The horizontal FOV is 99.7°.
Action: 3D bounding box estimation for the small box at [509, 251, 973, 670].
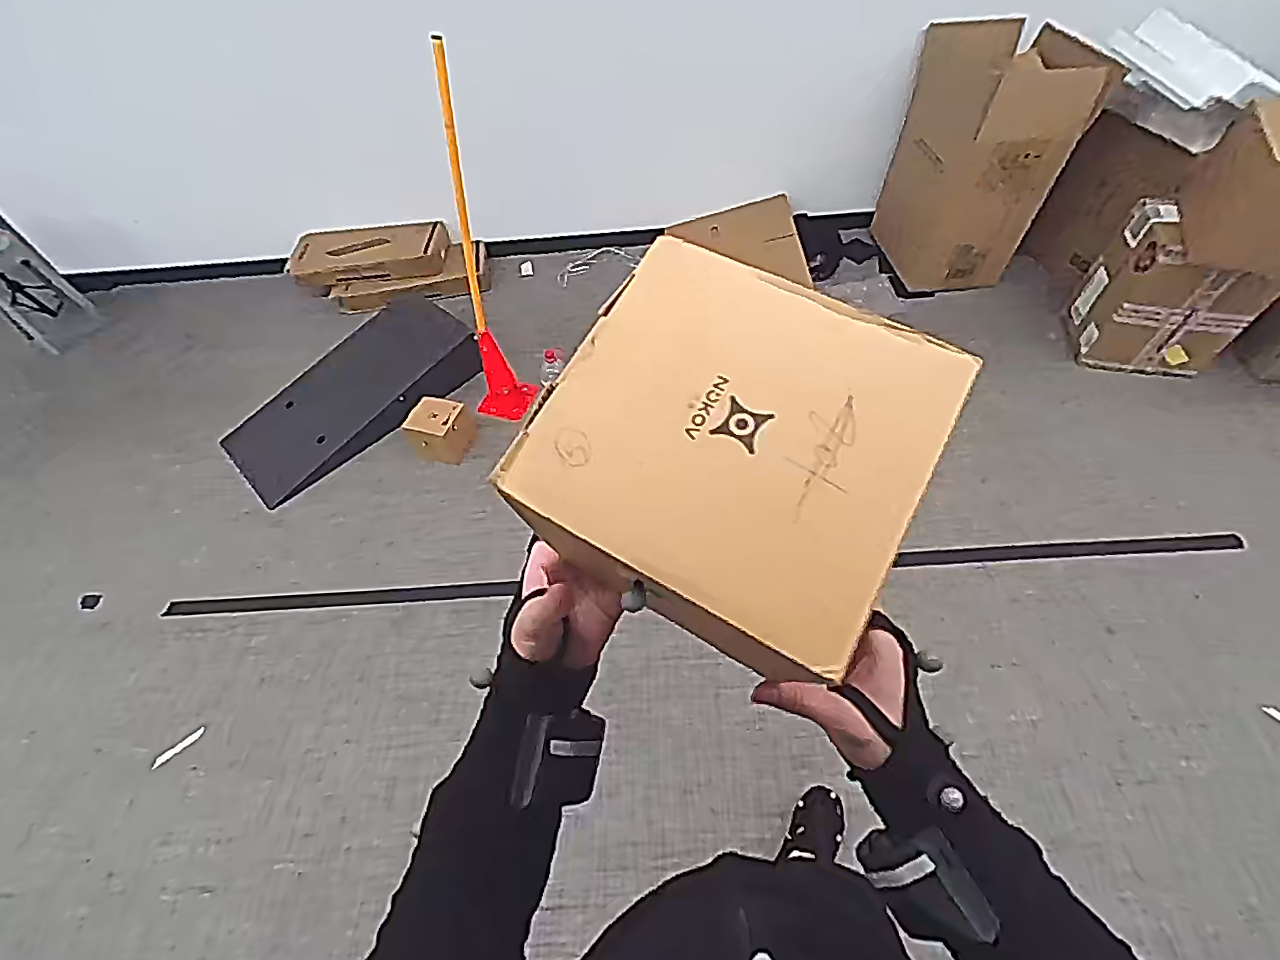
[{"bbox_3d":[0.054,0.003,0.338,0.179,0.176,0.168,28,75,12],"label":"small box"}]
